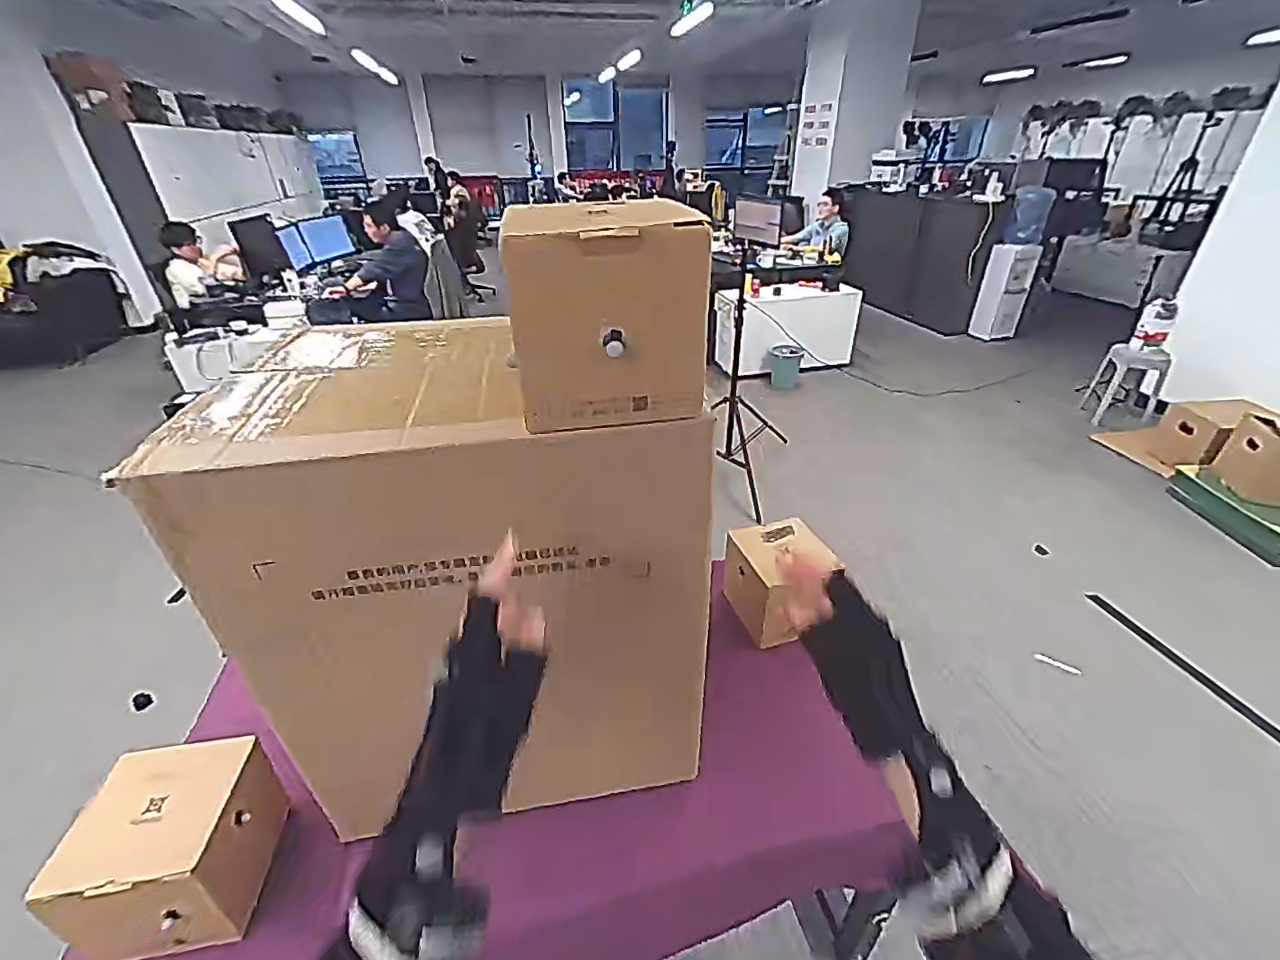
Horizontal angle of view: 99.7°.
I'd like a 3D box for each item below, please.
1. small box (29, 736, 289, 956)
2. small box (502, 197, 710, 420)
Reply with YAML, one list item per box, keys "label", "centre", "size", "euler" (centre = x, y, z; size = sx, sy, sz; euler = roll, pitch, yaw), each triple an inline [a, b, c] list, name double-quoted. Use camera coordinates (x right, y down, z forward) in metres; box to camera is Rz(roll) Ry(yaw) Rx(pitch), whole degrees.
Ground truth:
- label: "small box"
  centre: [-0.588, 0.470, 0.698]
  size: [0.168, 0.176, 0.179]
  euler: [-4, 29, -10]
- label: "small box"
  centre: [-0.033, -0.166, 0.524]
  size: [0.168, 0.176, 0.179]
  euler: [-6, 34, -7]
